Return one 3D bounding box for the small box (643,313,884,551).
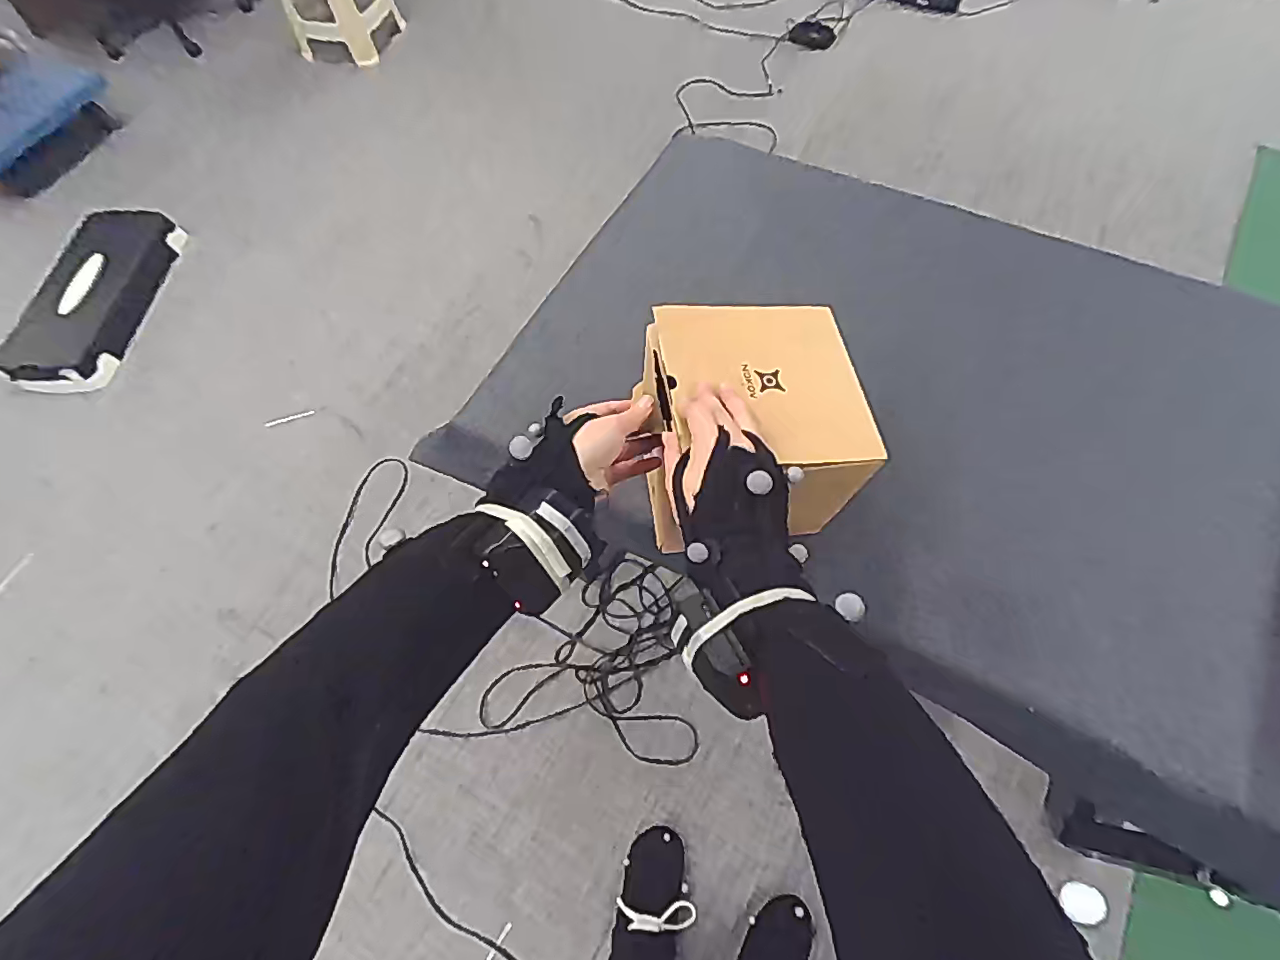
[{"bbox_3d":[0.100,-0.039,0.533,0.179,0.176,0.168,-6,64,-4],"label":"small box"}]
